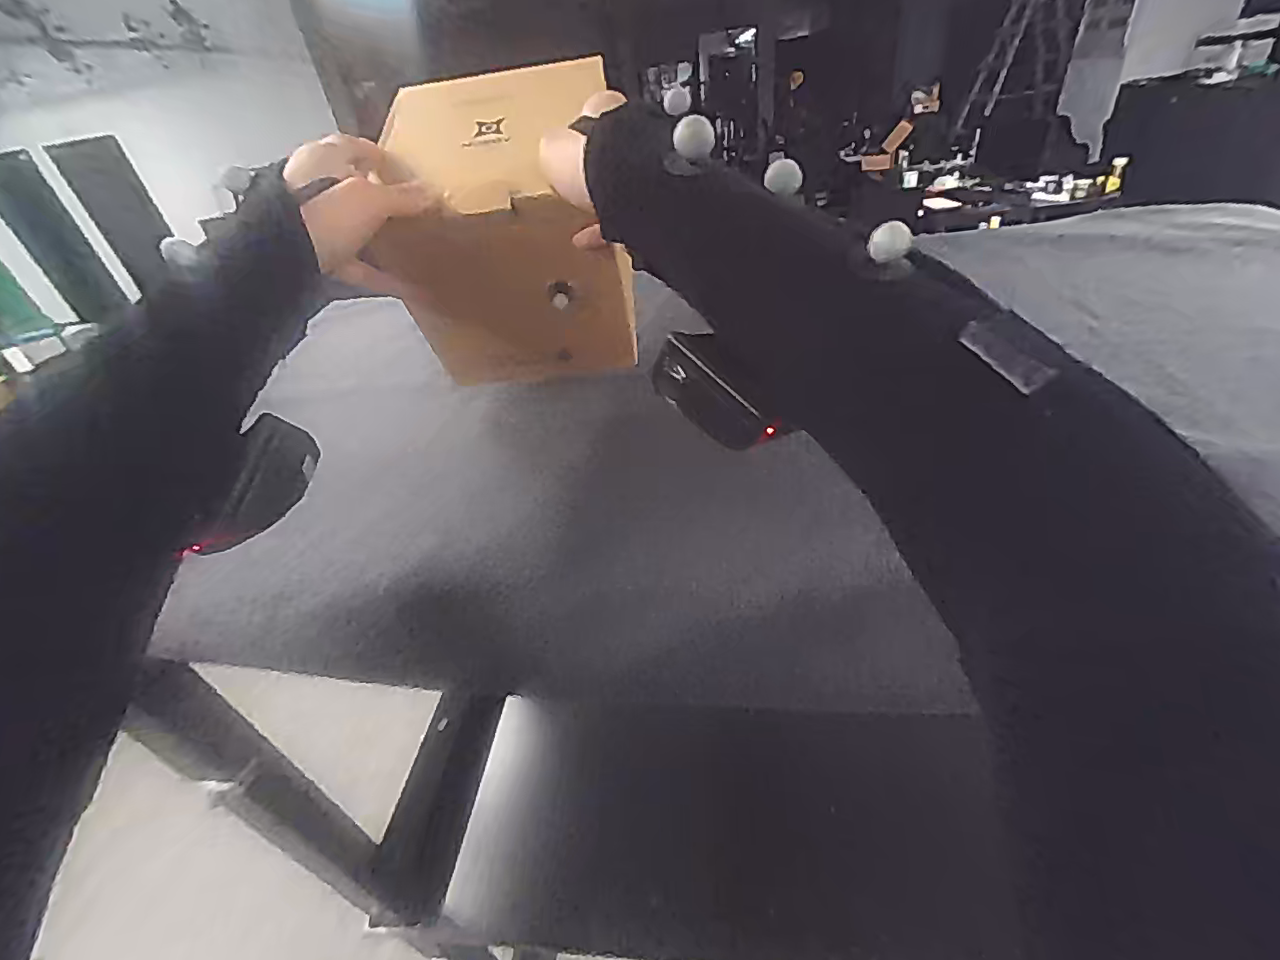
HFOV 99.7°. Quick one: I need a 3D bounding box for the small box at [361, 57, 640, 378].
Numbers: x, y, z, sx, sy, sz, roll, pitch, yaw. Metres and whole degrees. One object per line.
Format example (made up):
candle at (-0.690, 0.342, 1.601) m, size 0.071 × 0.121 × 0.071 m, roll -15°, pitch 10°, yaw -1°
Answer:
small box at (-0.093, -0.200, 0.448) m, size 0.168 × 0.176 × 0.179 m, roll -6°, pitch 60°, yaw 4°
